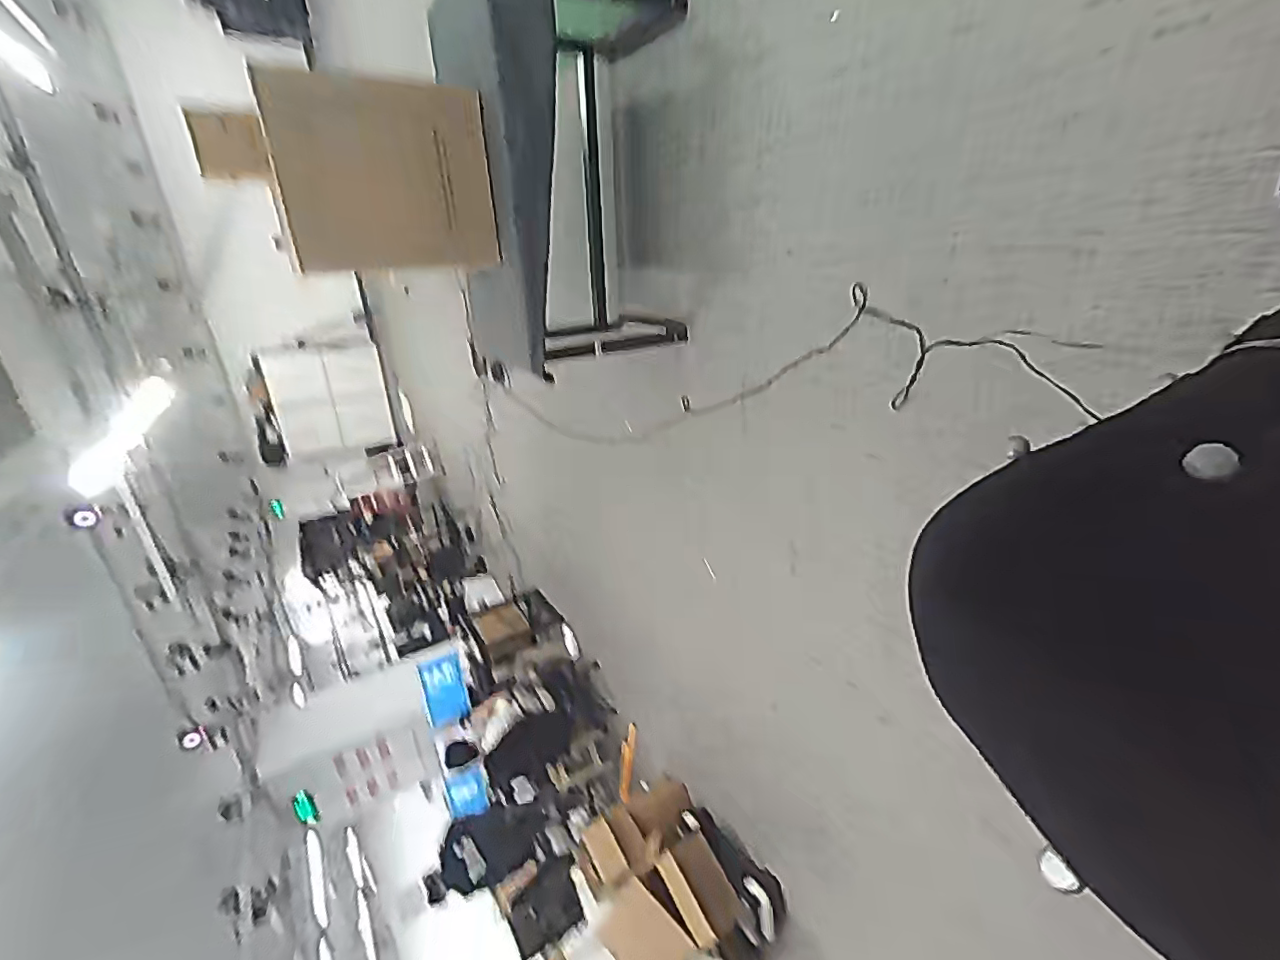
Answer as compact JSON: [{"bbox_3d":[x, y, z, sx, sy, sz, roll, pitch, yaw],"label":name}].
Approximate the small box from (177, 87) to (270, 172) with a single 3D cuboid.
[{"bbox_3d":[-1.144,-0.962,1.496,0.179,0.176,0.168,28,126,50],"label":"small box"}]
